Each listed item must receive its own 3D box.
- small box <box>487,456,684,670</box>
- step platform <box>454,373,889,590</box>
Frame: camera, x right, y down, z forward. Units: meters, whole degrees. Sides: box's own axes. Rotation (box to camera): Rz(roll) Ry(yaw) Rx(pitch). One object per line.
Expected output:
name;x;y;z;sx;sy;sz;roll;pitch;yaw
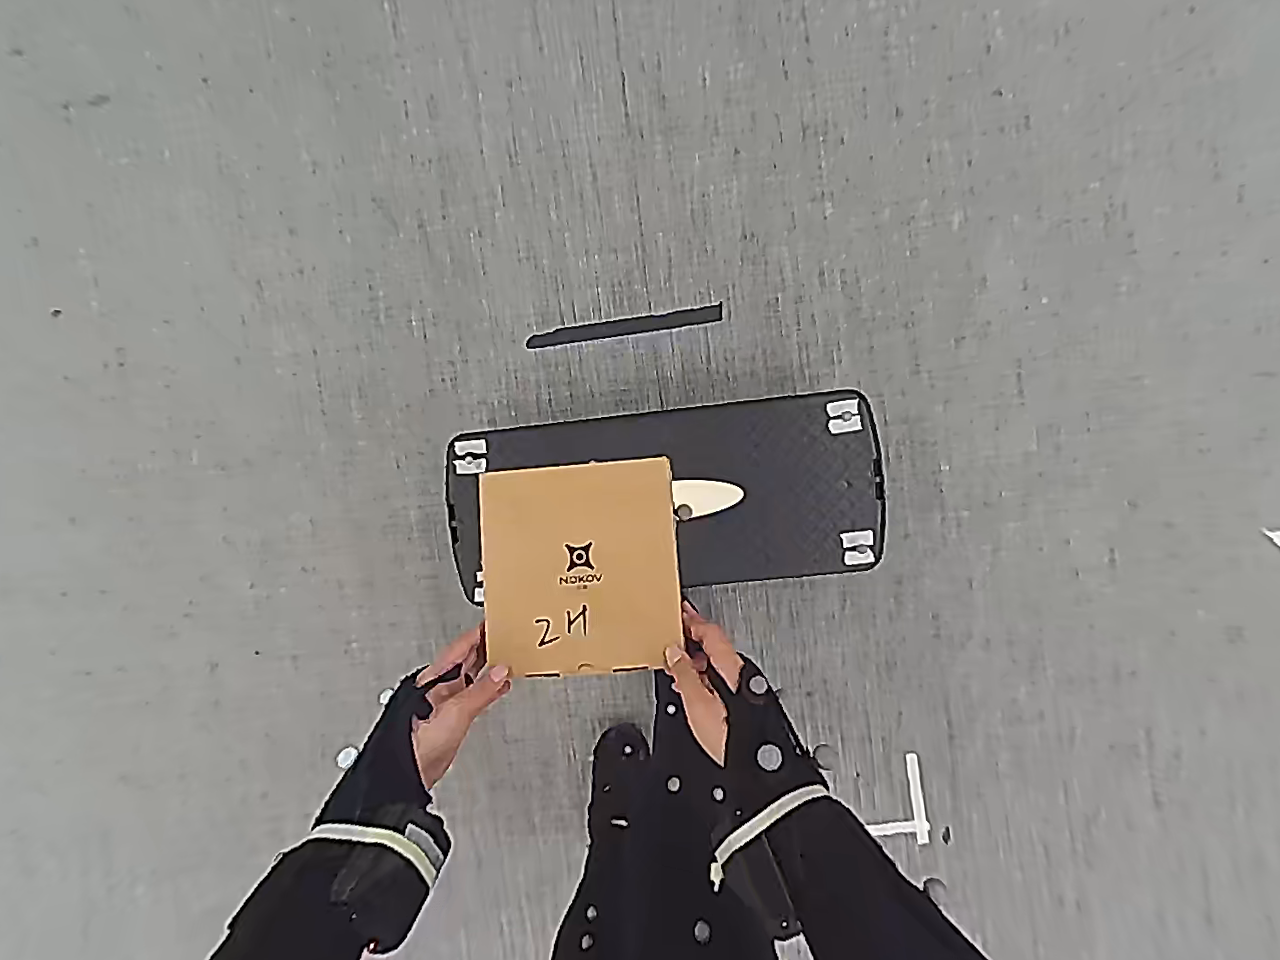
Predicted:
small box;-0.045;0.079;0.541;0.168;0.176;0.179;-4;84;4
step platform;0.045;0.005;0.907;0.684;0.204;0.286;-7;92;4
